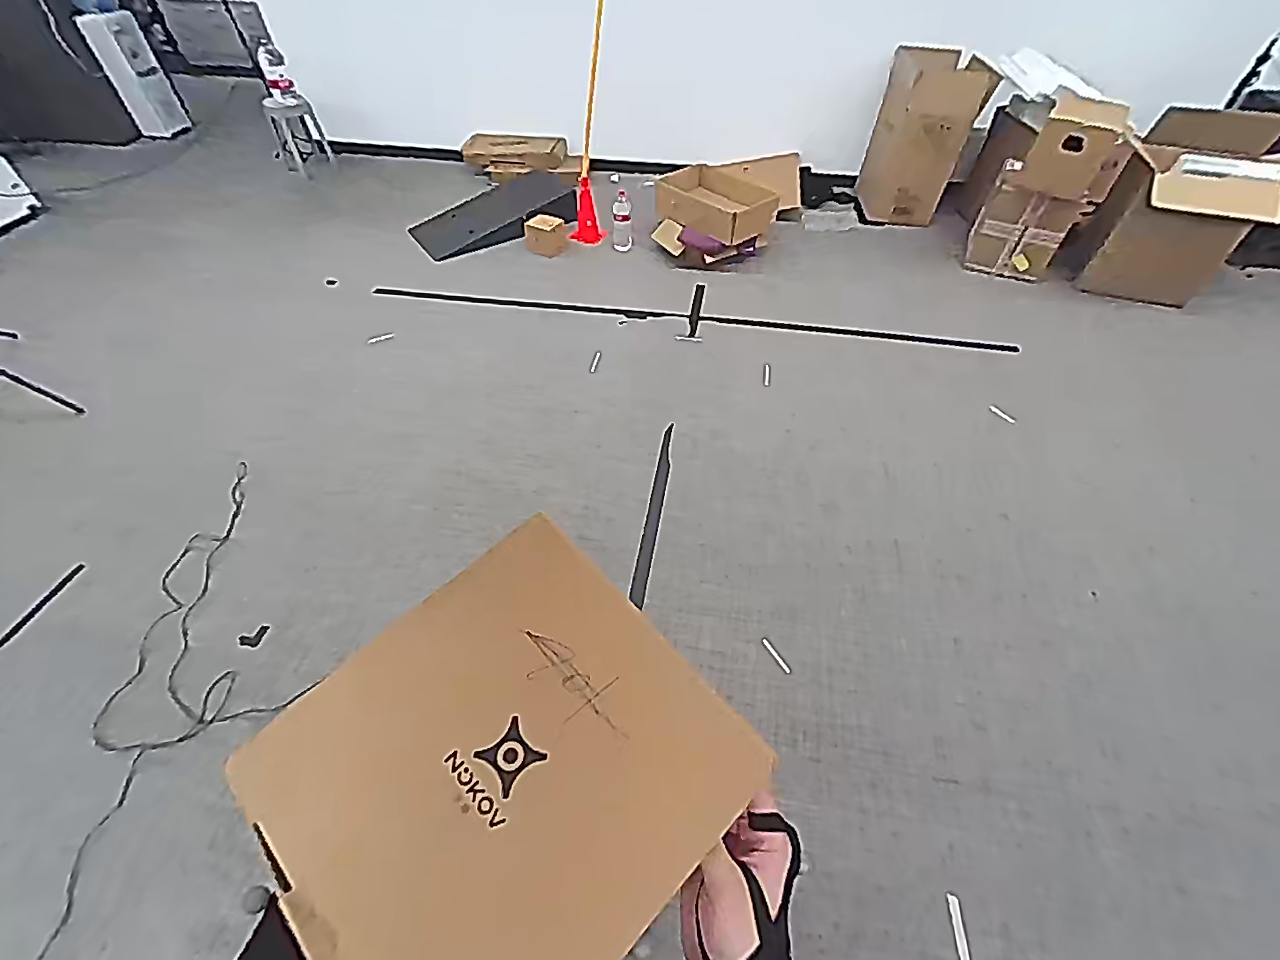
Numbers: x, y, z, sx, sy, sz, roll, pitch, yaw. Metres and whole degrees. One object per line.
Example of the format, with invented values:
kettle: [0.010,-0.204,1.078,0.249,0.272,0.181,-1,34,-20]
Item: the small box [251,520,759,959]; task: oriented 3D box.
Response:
small box: [-0.061,0.162,0.316,0.179,0.176,0.168,-41,71,-21]
